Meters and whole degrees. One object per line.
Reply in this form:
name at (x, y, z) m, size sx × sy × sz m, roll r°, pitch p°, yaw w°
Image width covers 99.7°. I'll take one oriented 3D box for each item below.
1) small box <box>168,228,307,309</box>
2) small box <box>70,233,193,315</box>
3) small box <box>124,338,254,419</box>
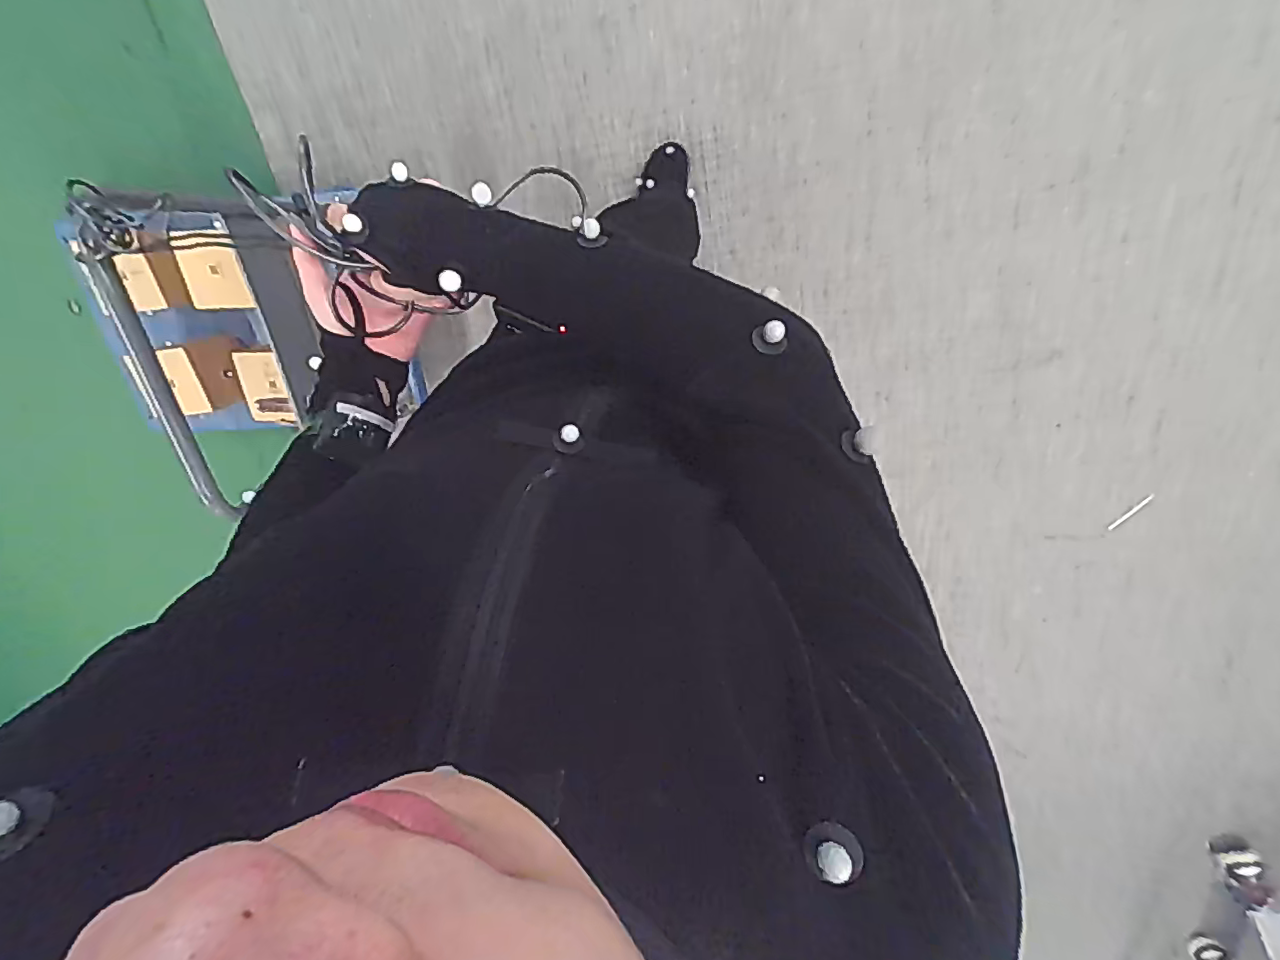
small box at (-0.940, -0.502, 1.280) m, size 0.179 × 0.176 × 0.168 m, roll 0°, pitch 115°, yaw 6°
small box at (-1.185, -0.501, 1.310) m, size 0.179 × 0.176 × 0.168 m, roll -3°, pitch 115°, yaw 8°
small box at (-1.163, -0.270, 1.417) m, size 0.179 × 0.176 × 0.168 m, roll -4°, pitch 114°, yaw 9°
